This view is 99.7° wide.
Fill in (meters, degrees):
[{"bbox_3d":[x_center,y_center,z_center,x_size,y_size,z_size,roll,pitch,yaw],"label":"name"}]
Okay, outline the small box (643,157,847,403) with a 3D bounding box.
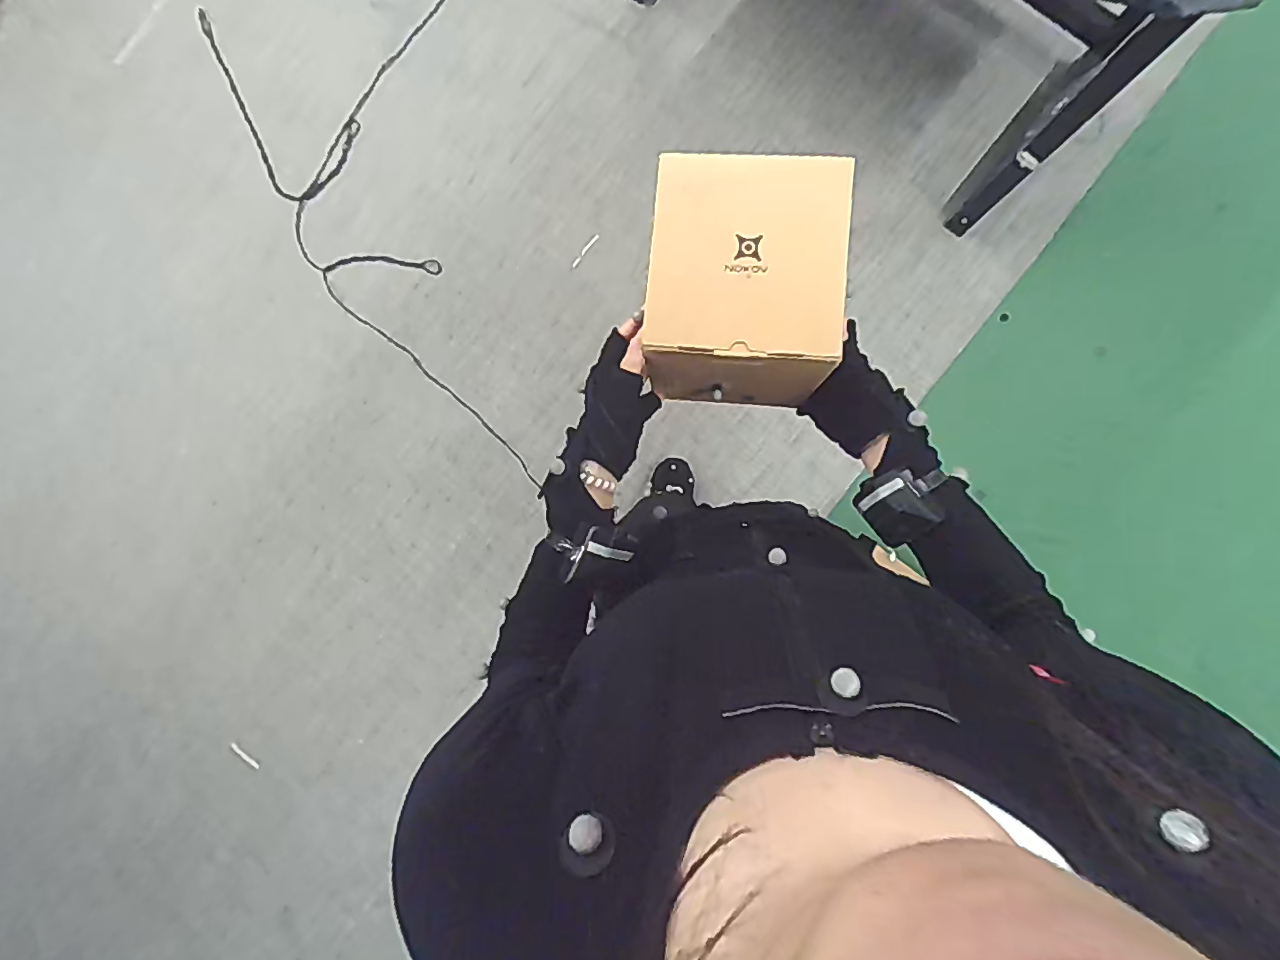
[{"bbox_3d":[0.097,-0.187,0.546,0.168,0.176,0.179,5,86,5],"label":"small box"}]
